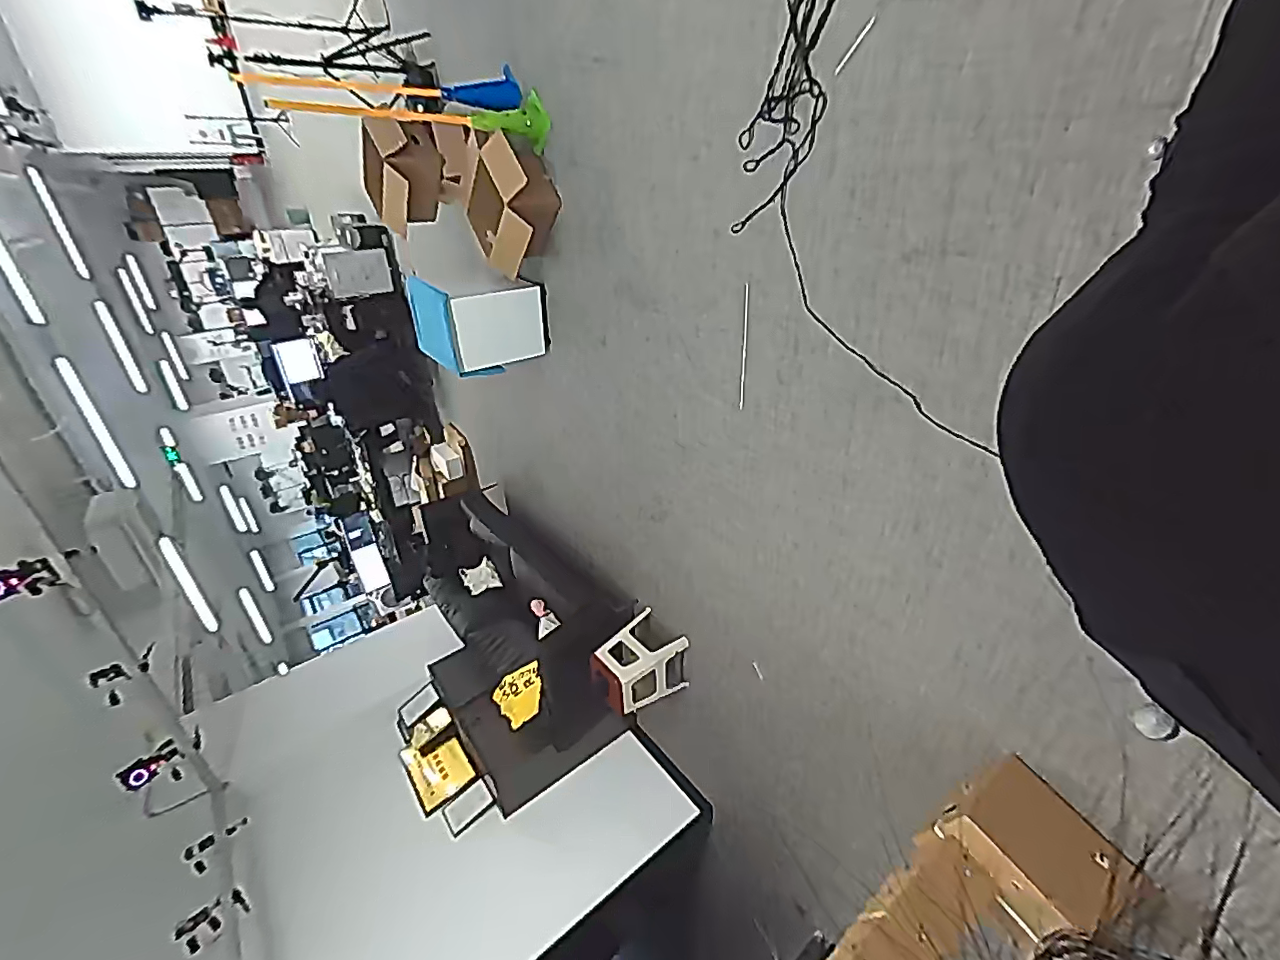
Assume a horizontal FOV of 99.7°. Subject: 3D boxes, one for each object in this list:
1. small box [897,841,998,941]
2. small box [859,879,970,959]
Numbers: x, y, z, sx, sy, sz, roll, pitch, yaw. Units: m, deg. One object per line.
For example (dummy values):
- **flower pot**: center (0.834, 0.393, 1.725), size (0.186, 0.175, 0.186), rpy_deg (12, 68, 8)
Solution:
- **small box**: center (0.883, 1.189, 1.559), size (0.168, 0.176, 0.179), rpy_deg (47, 144, 30)
- **small box**: center (0.749, 1.236, 1.482), size (0.179, 0.176, 0.168), rpy_deg (48, 144, 29)
